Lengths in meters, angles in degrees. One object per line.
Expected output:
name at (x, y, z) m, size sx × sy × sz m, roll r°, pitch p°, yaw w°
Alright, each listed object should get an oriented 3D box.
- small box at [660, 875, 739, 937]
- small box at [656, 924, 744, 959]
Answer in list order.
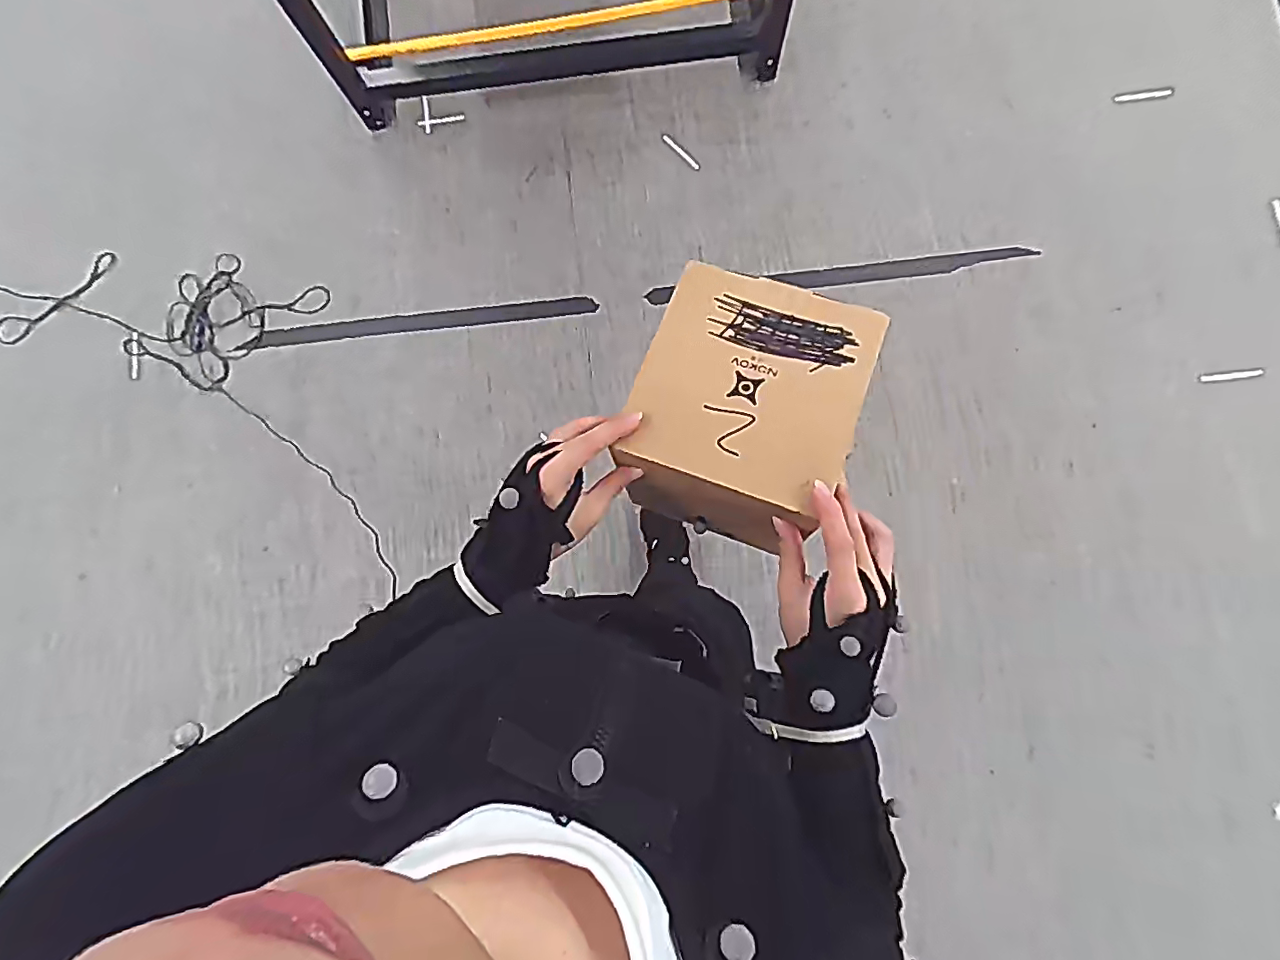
small box at (0.132, 1.020, 1.210) m, size 0.168 × 0.176 × 0.179 m, roll -5°, pitch 84°, yaw 2°
small box at (0.130, 1.010, 1.047) m, size 0.179 × 0.176 × 0.168 m, roll -12°, pitch 83°, yaw 1°
